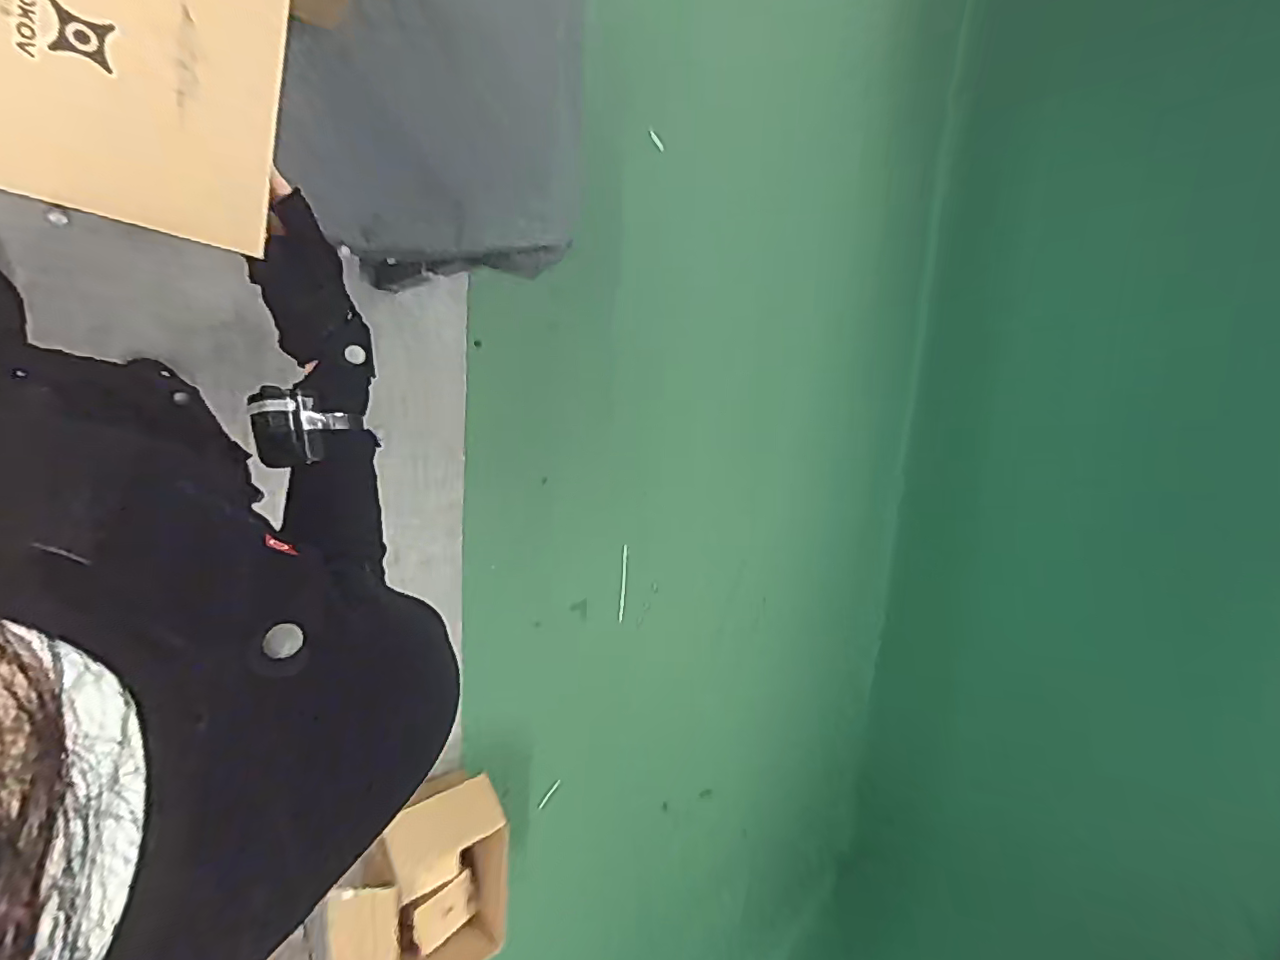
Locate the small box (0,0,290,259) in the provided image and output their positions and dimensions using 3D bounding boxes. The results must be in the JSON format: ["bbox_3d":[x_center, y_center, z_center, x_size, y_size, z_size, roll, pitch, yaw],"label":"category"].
[{"bbox_3d":[-0.337,-0.249,0.324,0.179,0.176,0.168,4,110,-45],"label":"small box"}]
